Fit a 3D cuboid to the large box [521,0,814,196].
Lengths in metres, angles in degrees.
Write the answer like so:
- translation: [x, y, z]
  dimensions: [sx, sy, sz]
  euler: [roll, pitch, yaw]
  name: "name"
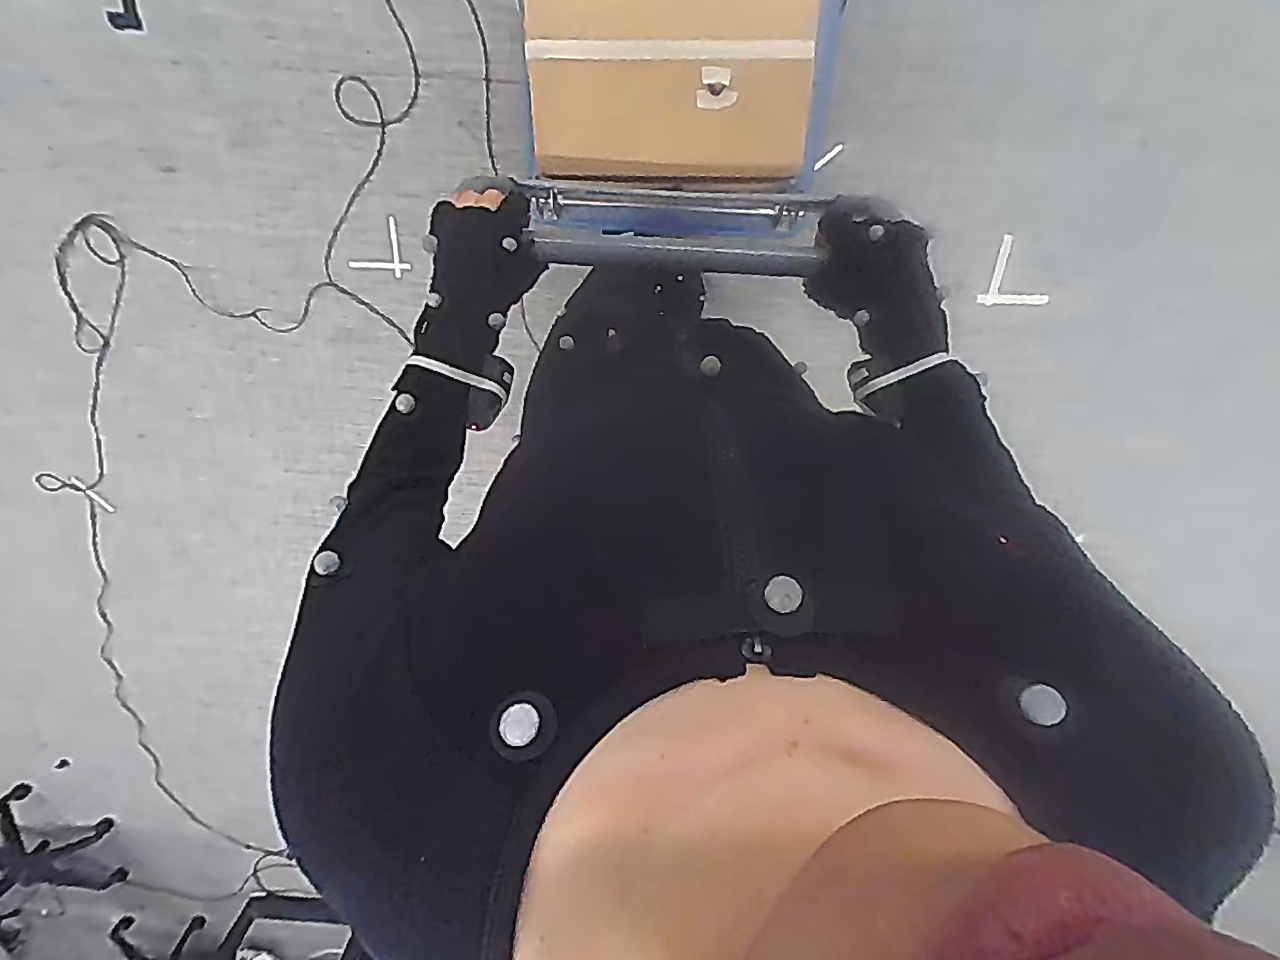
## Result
- translation: [0.037, -0.655, 0.894]
  dimensions: [0.408, 0.320, 0.320]
  euler: [0, 116, 0]
  name: "large box"
